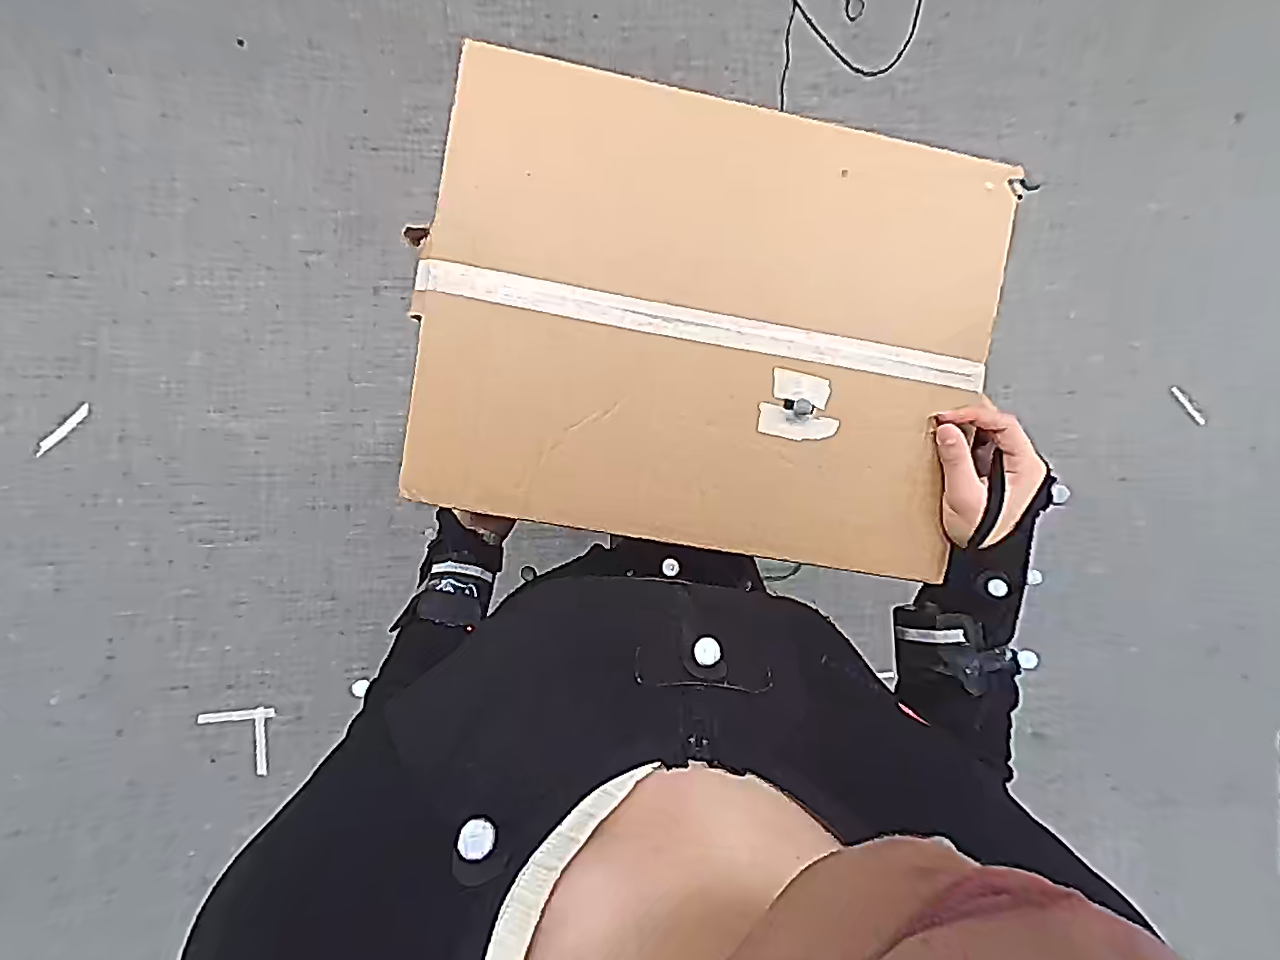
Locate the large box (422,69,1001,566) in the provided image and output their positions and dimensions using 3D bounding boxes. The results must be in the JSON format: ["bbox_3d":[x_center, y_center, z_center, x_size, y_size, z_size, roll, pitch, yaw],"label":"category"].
[{"bbox_3d":[0.044,-0.116,0.543,0.408,0.320,0.320,8,93,-6],"label":"large box"}]
